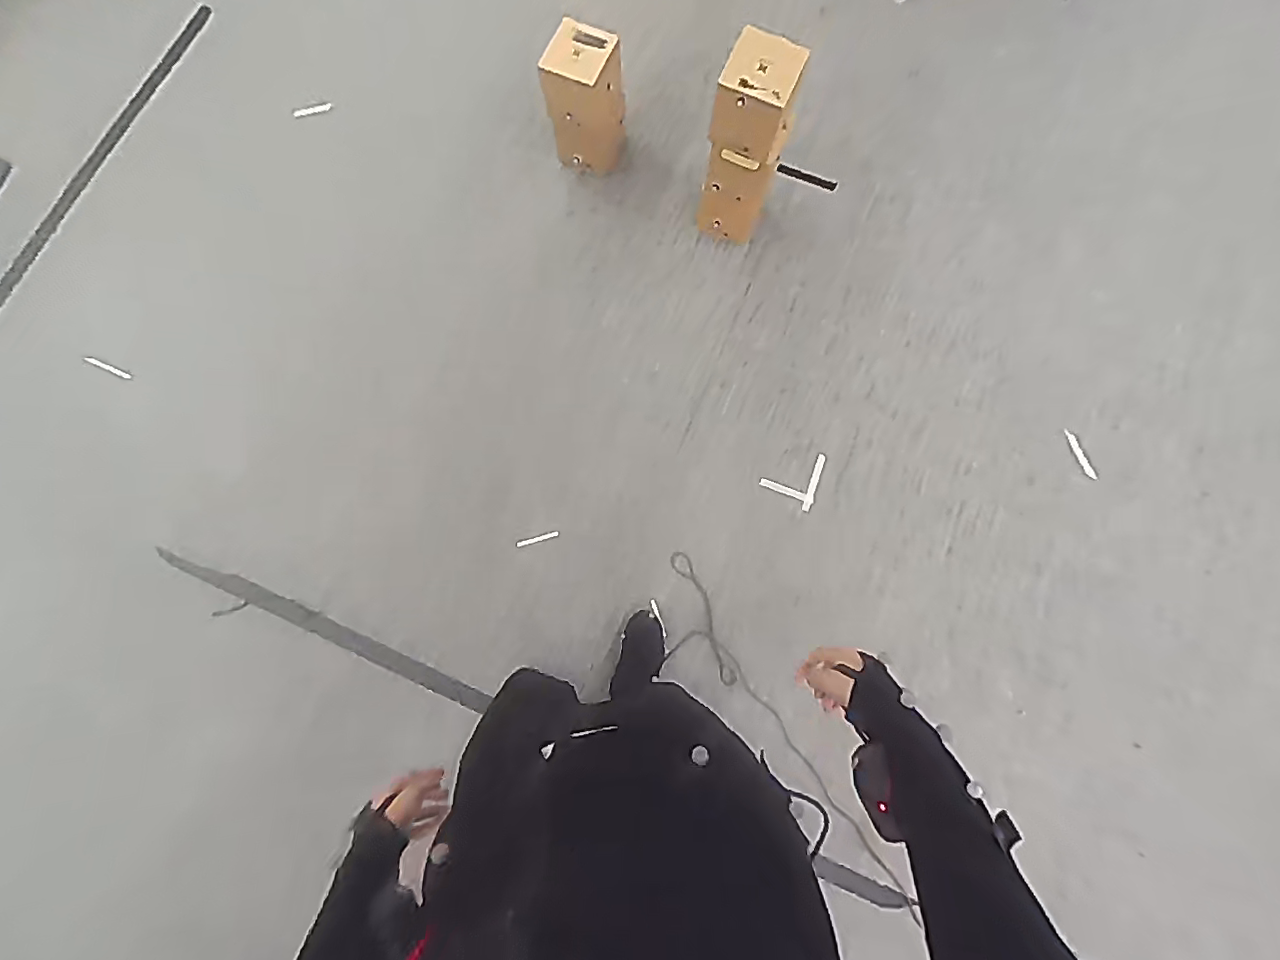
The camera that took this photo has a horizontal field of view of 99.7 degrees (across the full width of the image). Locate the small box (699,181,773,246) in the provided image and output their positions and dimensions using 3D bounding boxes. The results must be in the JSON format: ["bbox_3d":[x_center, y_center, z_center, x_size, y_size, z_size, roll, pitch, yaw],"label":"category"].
[{"bbox_3d":[0.289,-0.852,1.633,0.168,0.176,0.179,25,80,4],"label":"small box"}]

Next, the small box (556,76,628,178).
[{"bbox_3d":[-0.143,-1.087,1.675,0.168,0.176,0.179,21,79,4],"label":"small box"}]

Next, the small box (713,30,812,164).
[{"bbox_3d":[0.288,-0.920,1.311,0.168,0.176,0.179,24,79,4],"label":"small box"}]

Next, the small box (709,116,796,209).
[{"bbox_3d":[0.298,-0.882,1.472,0.168,0.176,0.179,25,79,4],"label":"small box"}]
